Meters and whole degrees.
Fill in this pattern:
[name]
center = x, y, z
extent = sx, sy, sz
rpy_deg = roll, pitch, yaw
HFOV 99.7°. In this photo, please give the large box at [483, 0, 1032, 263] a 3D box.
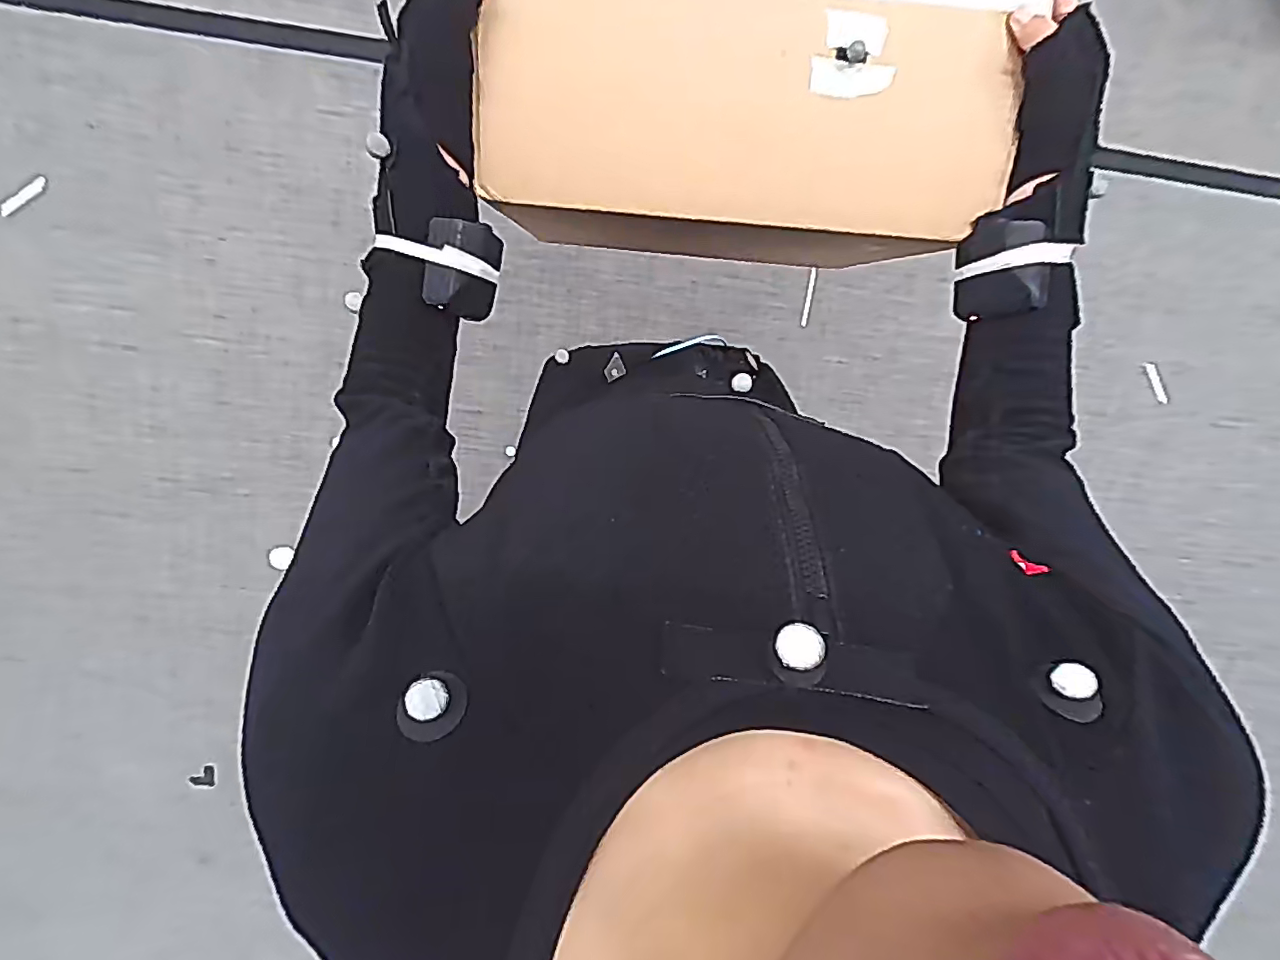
[large box]
center = 0.080, -0.398, 0.526
extent = 0.408, 0.320, 0.320
rpy_deg = 4, 109, -4
